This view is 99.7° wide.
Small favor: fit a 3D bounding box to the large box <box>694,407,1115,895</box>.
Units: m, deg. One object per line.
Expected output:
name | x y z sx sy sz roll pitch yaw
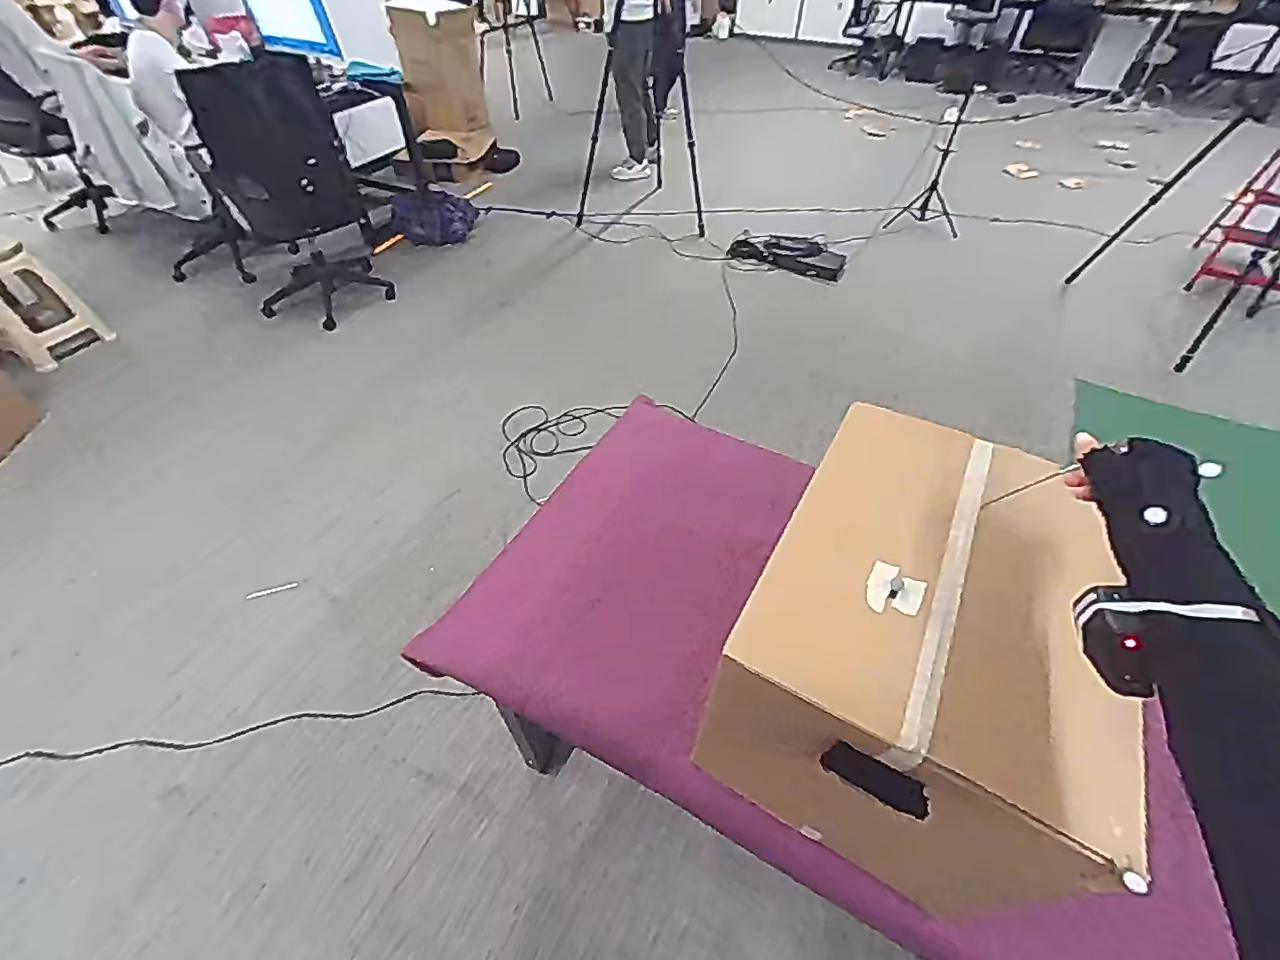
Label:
large box | 0.300 0.186 0.655 0.320 0.320 0.408 24 52 20
